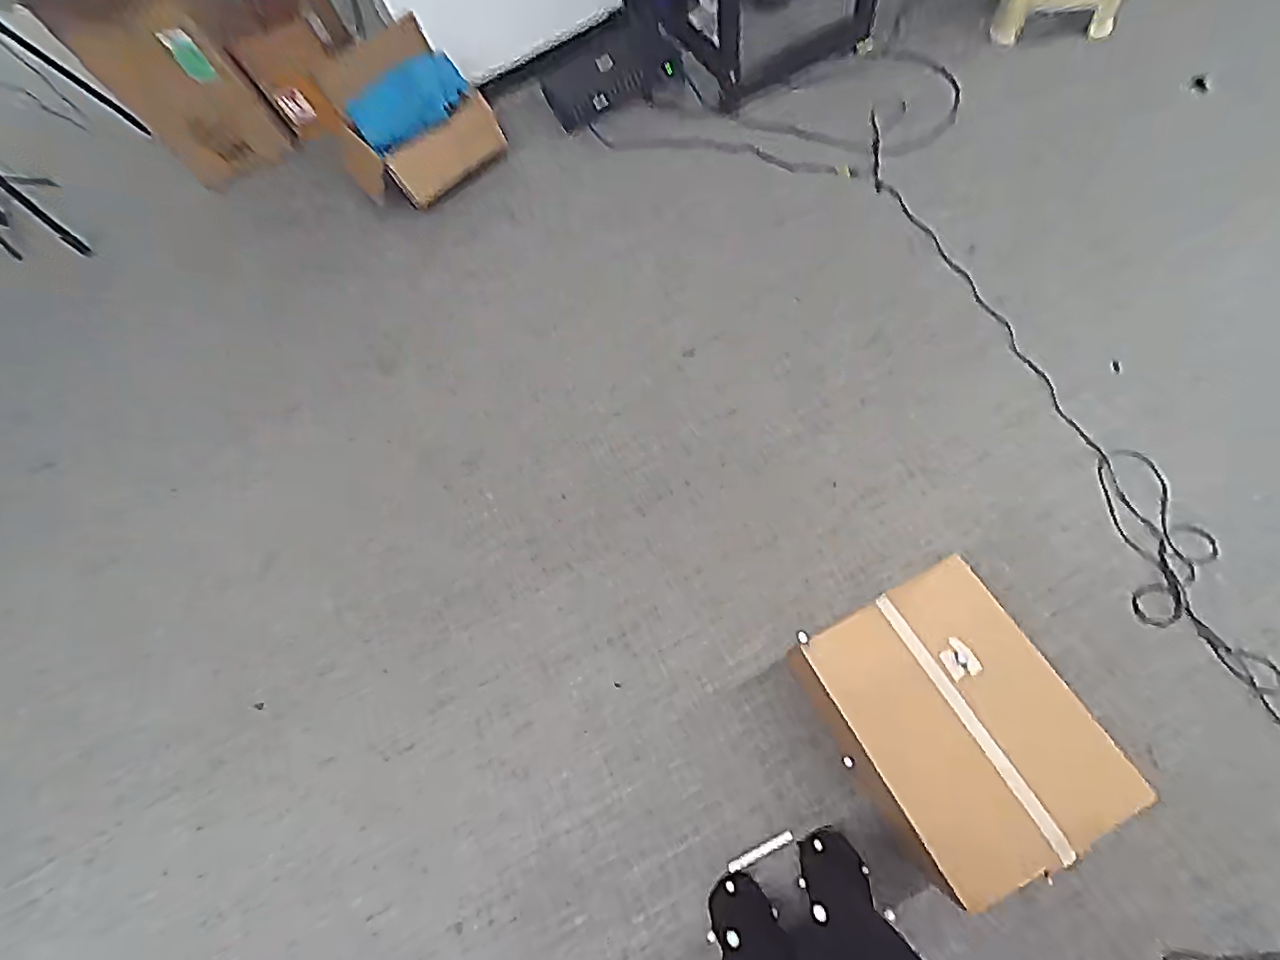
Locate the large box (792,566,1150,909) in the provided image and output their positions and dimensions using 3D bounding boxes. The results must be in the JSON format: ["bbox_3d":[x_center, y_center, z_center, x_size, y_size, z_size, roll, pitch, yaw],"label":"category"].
[{"bbox_3d":[0.525,0.430,0.971,0.320,0.320,0.408,-28,64,-4],"label":"large box"}]
